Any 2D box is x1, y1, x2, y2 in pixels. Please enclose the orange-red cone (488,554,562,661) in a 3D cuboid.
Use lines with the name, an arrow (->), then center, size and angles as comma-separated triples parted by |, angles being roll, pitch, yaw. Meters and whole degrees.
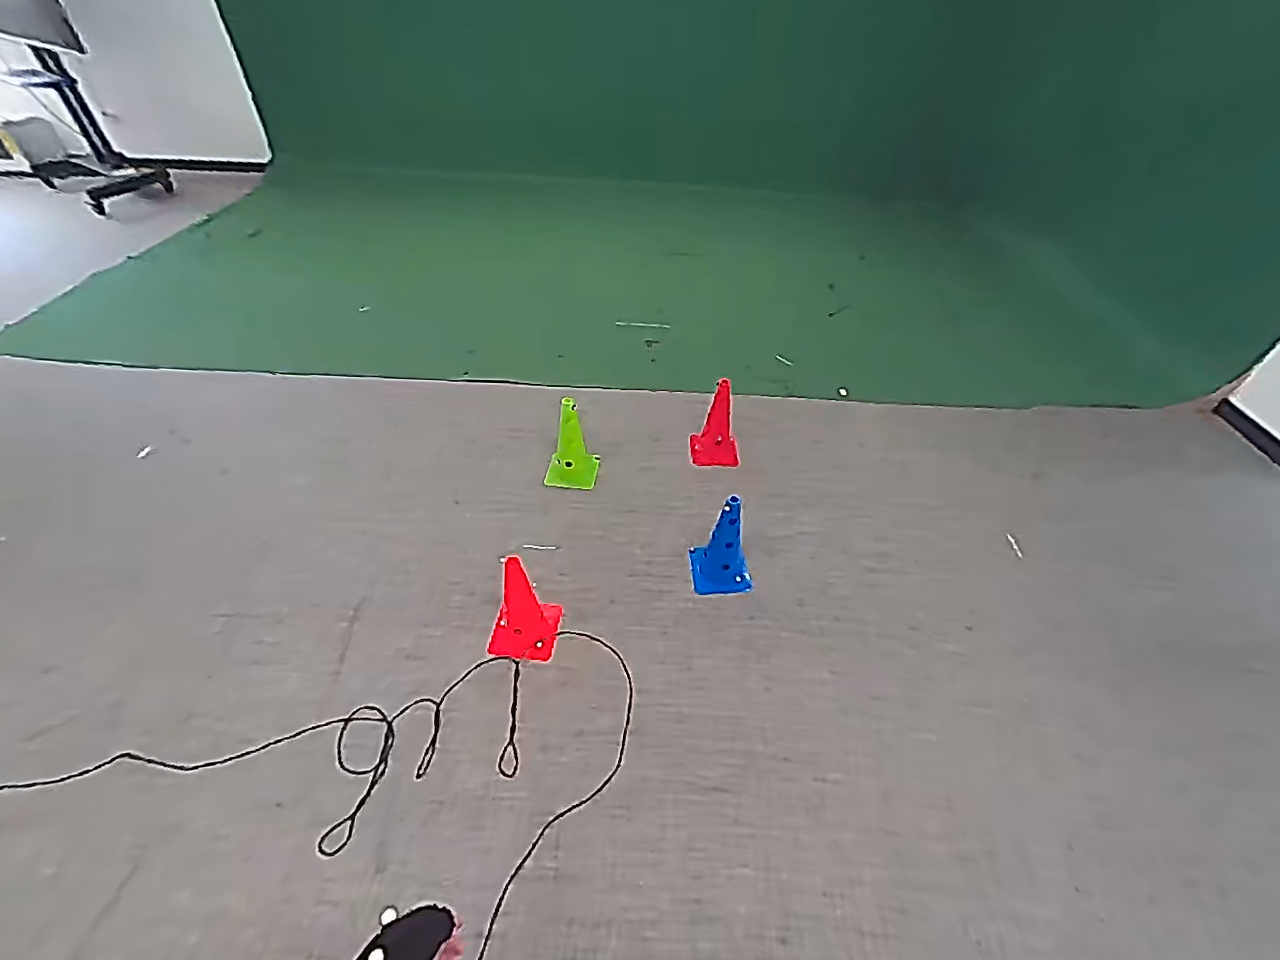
orange-red cone -> -0.350, 0.339, 1.573 | 0.198, 0.360, 0.199 | 7, 43, 3

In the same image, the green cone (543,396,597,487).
green cone -> -0.280, -0.170, 2.094 | 0.200, 0.368, 0.202 | 4, 45, 2
